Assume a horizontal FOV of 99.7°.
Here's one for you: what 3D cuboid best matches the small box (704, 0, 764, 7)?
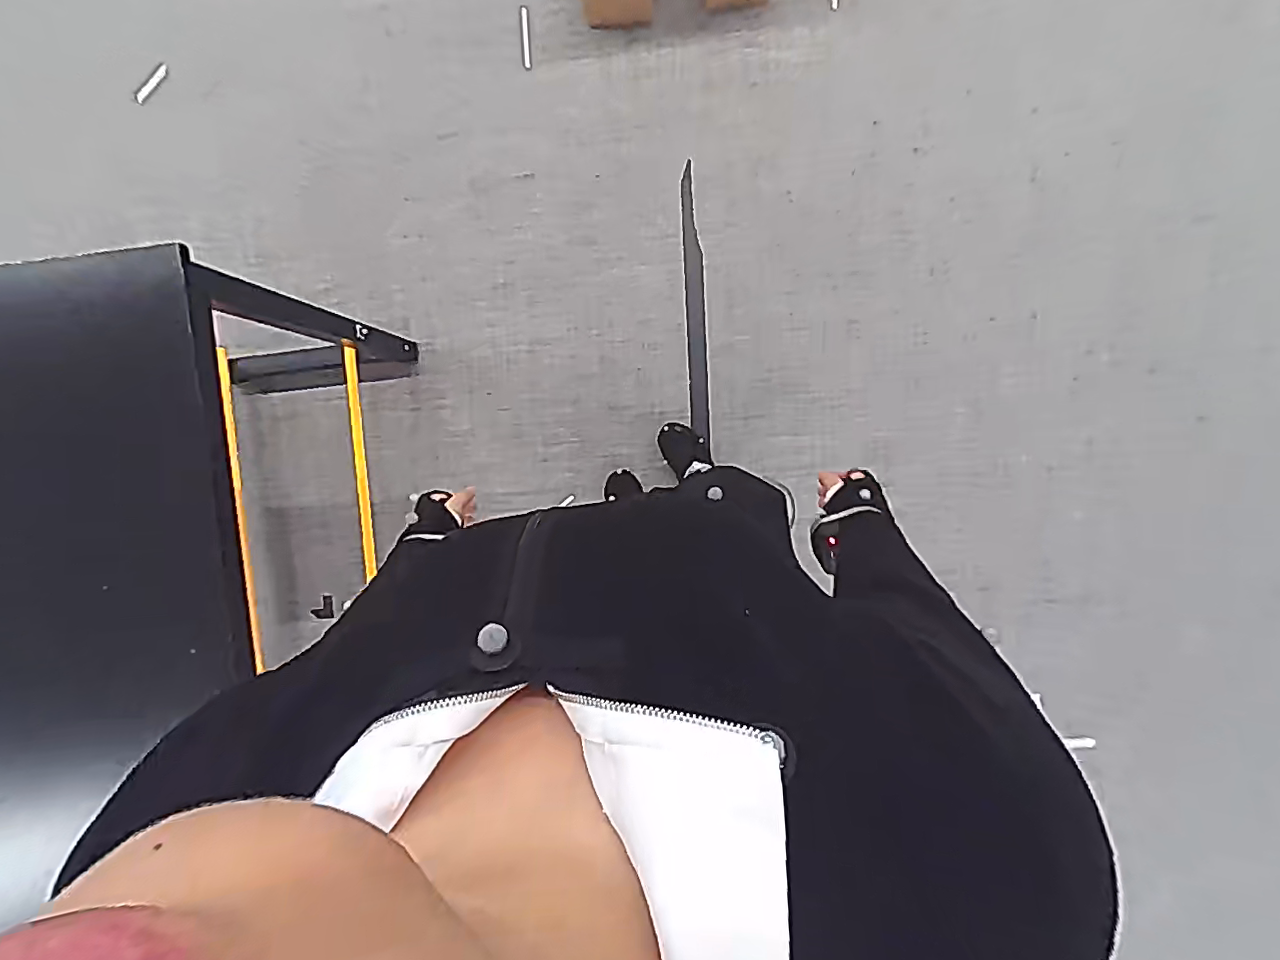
[{"bbox_3d":[0.233,-1.288,1.299,0.168,0.176,0.179,-6,94,5],"label":"small box"}]

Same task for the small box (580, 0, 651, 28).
[{"bbox_3d":[-0.063,-1.258,1.321,0.179,0.176,0.168,-3,93,5],"label":"small box"}]
